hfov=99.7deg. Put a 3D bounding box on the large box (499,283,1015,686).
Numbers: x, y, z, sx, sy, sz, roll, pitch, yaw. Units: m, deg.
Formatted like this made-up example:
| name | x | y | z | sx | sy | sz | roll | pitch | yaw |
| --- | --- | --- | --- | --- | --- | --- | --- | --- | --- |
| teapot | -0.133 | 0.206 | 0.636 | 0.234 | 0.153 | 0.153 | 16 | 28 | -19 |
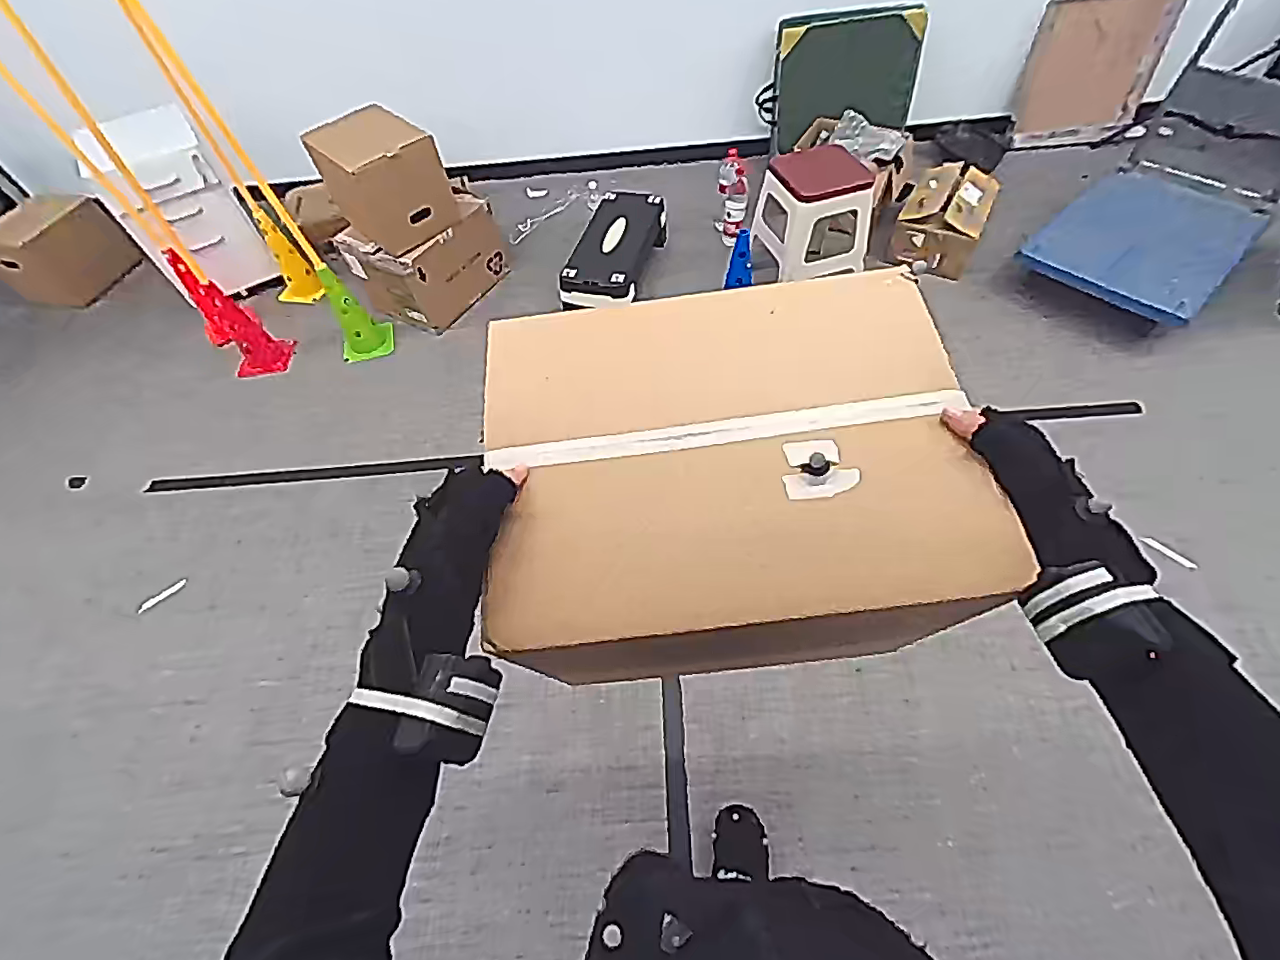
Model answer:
| name | x | y | z | sx | sy | sz | roll | pitch | yaw |
| --- | --- | --- | --- | --- | --- | --- | --- | --- | --- |
| large box | 0.082 | 0.032 | 0.608 | 0.408 | 0.320 | 0.320 | -8 | 65 | 2 |
